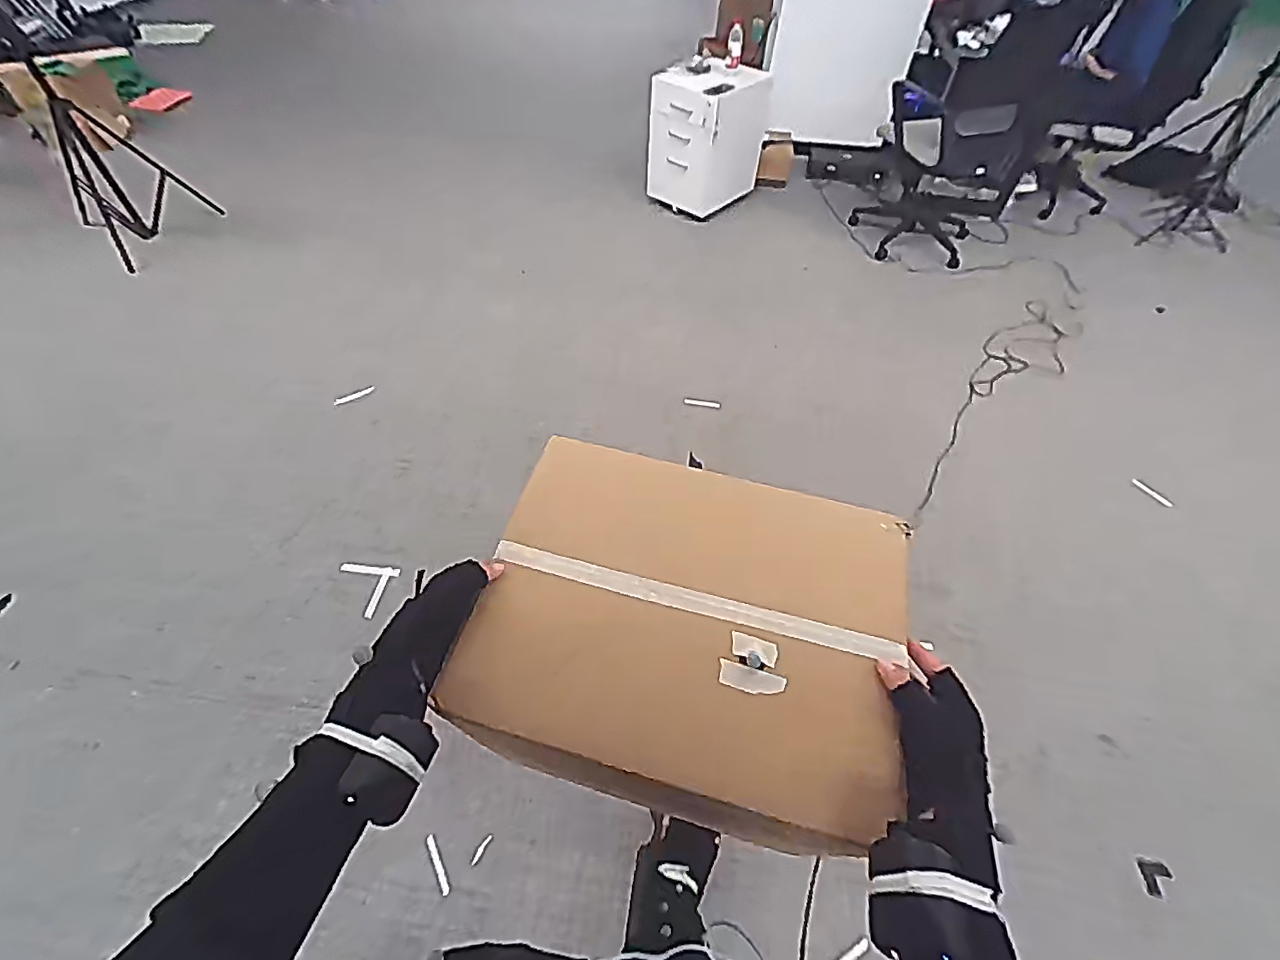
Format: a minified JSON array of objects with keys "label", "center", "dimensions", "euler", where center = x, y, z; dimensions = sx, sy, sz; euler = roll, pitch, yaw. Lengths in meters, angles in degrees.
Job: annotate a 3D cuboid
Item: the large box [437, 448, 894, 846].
[{"label":"large box","center":[0.041,0.209,0.657],"dimensions":[0.408,0.320,0.320],"euler":[14,57,7]}]
